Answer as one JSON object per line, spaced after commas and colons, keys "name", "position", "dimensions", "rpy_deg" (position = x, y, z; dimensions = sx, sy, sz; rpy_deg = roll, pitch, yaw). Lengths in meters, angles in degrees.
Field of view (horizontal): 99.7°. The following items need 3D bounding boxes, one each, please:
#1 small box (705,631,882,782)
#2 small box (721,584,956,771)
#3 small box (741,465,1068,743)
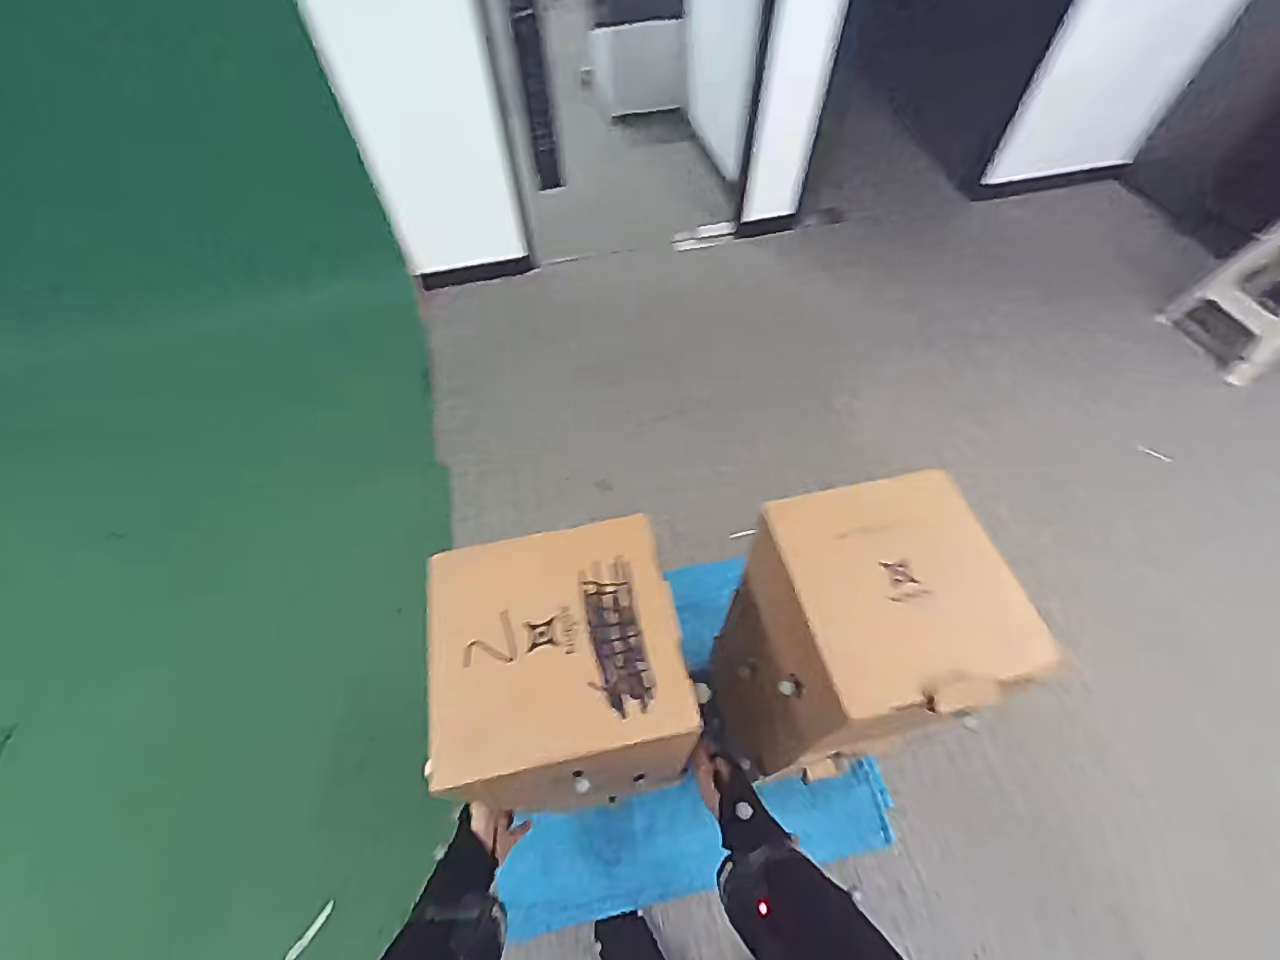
{"name": "small box", "position": [0.193, 0.301, 0.738], "dimensions": [0.168, 0.176, 0.179], "rpy_deg": [-10, 58, -6]}
{"name": "small box", "position": [0.199, 0.209, 0.604], "dimensions": [0.168, 0.176, 0.179], "rpy_deg": [-13, 56, -8]}
{"name": "small box", "position": [0.198, 0.115, 0.471], "dimensions": [0.168, 0.176, 0.179], "rpy_deg": [-10, 55, -6]}
